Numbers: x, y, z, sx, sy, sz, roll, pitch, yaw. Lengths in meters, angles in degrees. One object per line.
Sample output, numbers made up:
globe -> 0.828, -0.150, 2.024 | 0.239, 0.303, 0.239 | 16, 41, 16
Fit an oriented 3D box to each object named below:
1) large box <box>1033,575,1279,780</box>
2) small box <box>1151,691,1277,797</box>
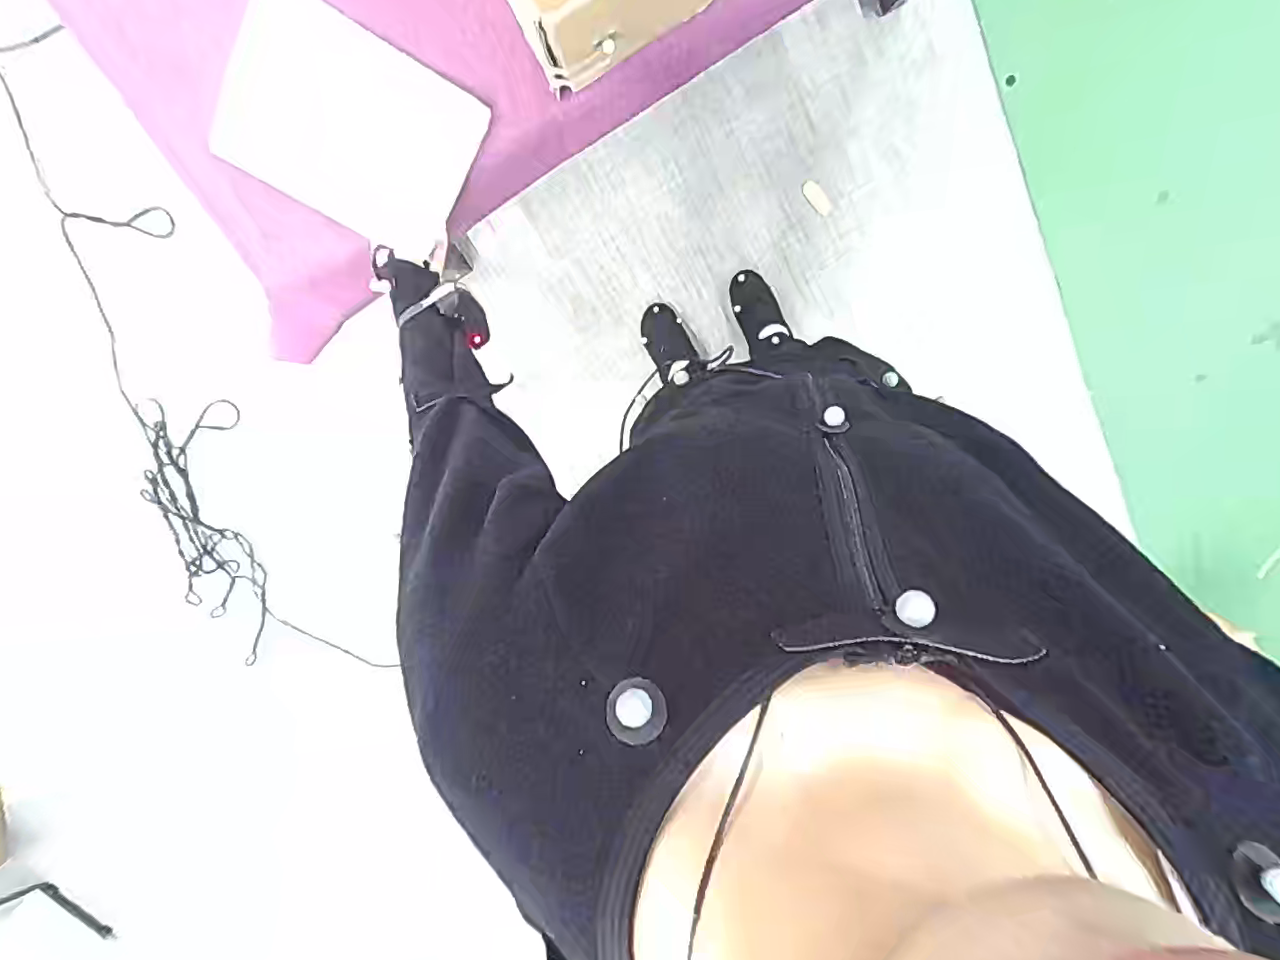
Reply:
large box -> 1.496, 0.564, 1.580 | 0.408, 0.320, 0.320 | -43, 105, 12
small box -> 1.456, 0.664, 1.356 | 0.168, 0.176, 0.179 | -42, 104, 14
